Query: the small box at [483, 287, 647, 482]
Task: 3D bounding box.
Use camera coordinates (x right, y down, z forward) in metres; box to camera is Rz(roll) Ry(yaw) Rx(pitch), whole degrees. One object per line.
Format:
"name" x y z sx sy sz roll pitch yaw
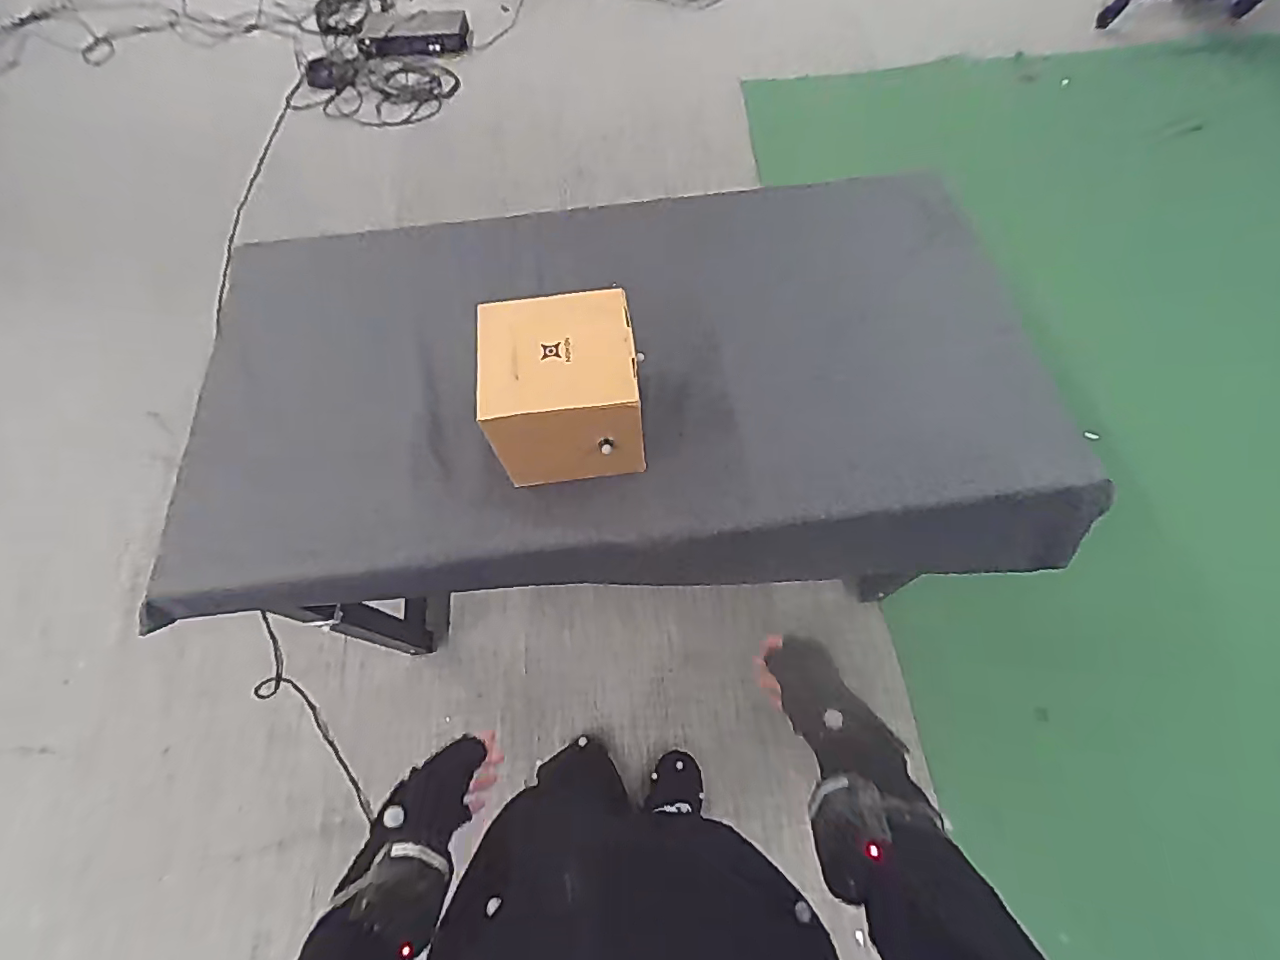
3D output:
"small box" -0.086 -0.112 0.679 0.179 0.176 0.168 -8 64 0
